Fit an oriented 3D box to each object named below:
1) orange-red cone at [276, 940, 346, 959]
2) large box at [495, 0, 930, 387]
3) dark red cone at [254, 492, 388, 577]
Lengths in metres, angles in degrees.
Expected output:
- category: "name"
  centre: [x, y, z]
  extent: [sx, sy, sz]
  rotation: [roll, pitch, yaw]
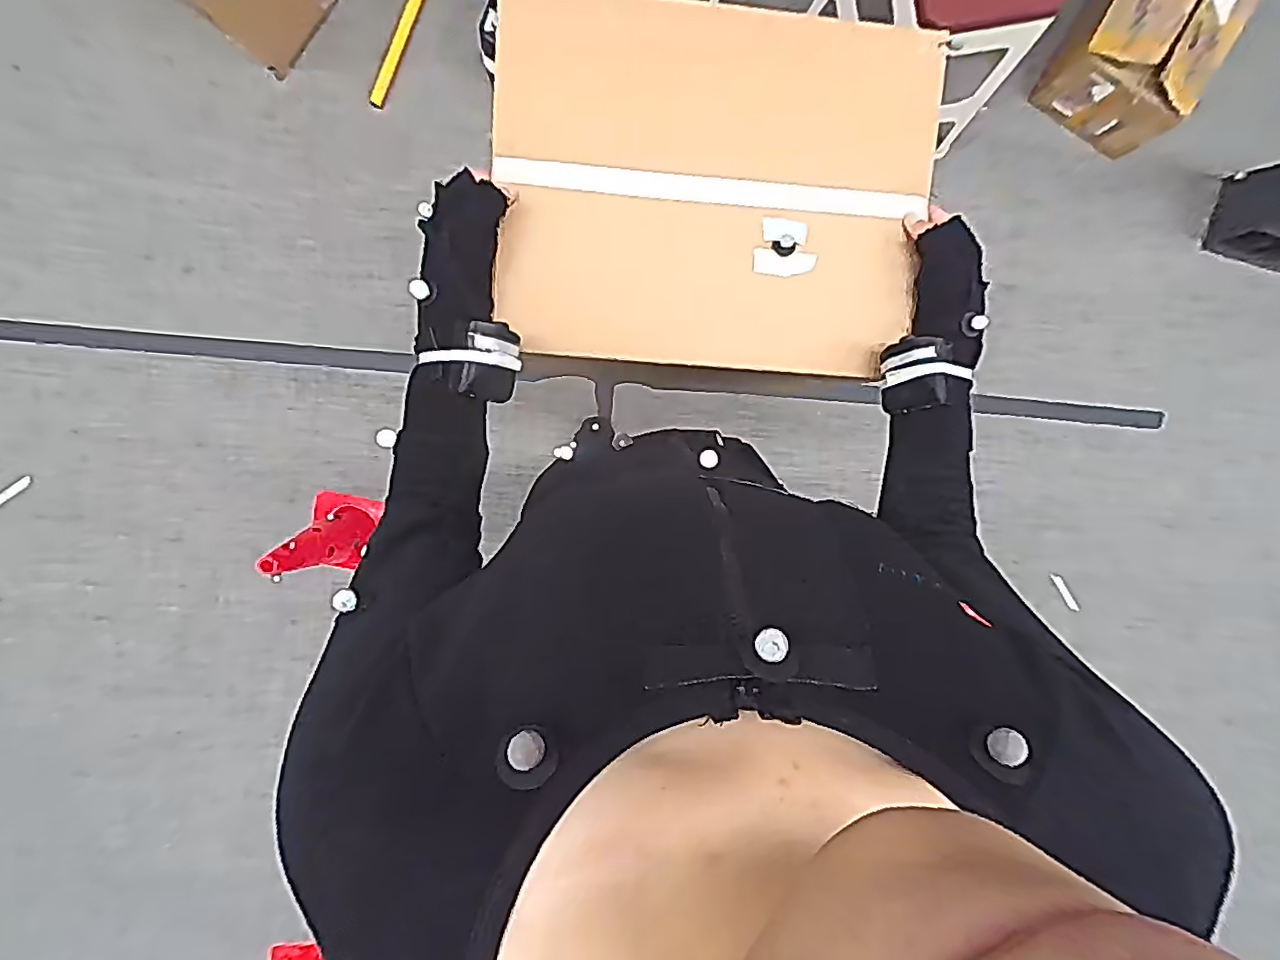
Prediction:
- category: "orange-red cone"
  centre: [-0.941, 1.436, 1.386]
  extent: [0.198, 0.360, 0.199]
  rotation: [2, 97, -2]
- category: "large box"
  centre: [0.055, -0.285, 0.652]
  extent: [0.408, 0.320, 0.320]
  rotation: [3, 97, -5]
- category: "dark red cone"
  centre: [-0.758, 0.156, 1.253]
  extent: [0.201, 0.394, 0.202]
  rotation: [10, 95, -5]
